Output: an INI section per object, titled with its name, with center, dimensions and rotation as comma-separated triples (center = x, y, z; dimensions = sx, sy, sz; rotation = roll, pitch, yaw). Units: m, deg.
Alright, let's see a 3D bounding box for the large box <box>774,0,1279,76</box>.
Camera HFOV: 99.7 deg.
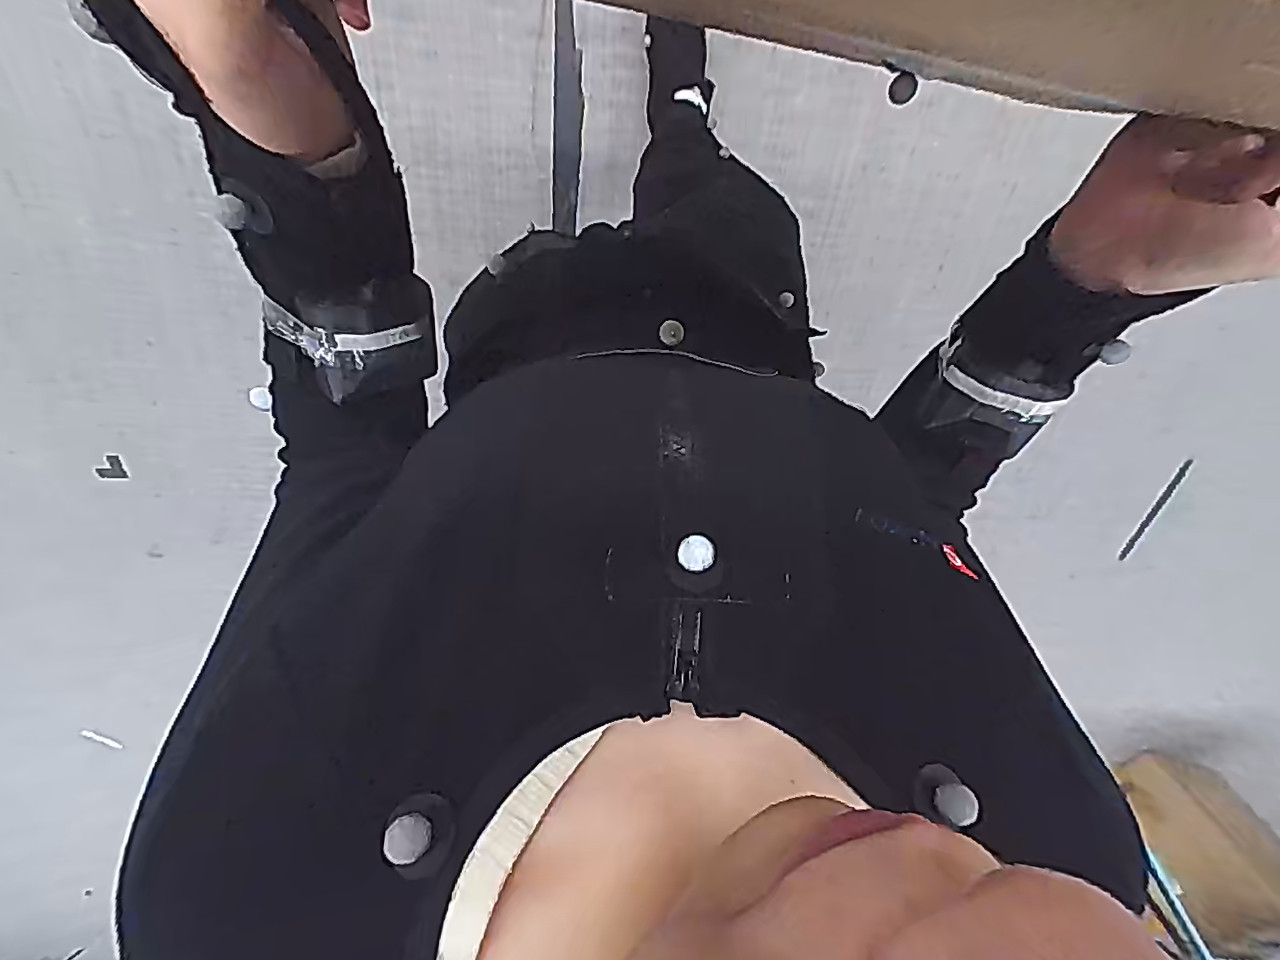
[large box]
center = 0.089, -0.304, 0.097
dimensions = 0.408, 0.320, 0.320
rotation = 4, 128, -9
